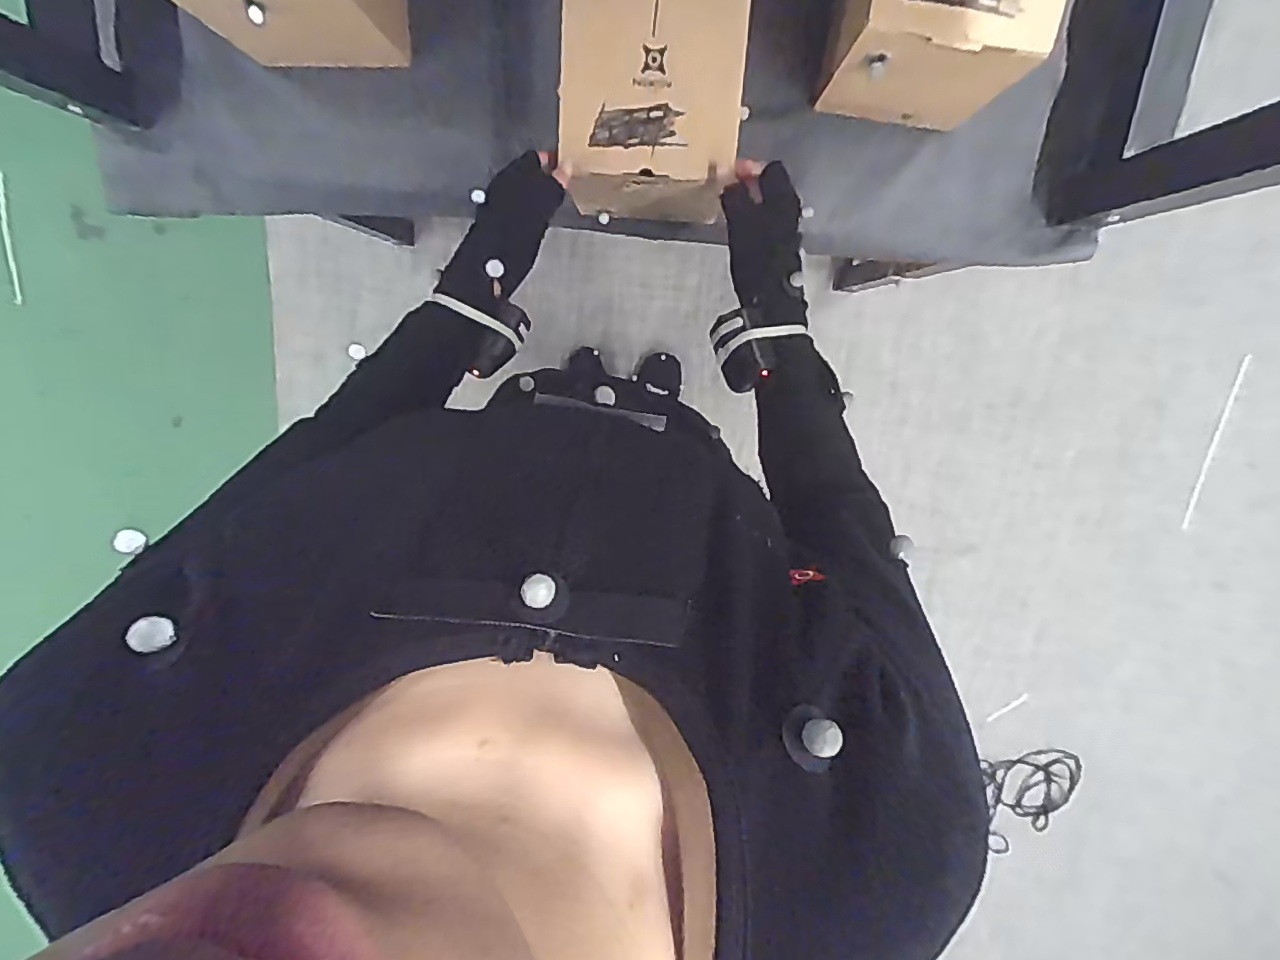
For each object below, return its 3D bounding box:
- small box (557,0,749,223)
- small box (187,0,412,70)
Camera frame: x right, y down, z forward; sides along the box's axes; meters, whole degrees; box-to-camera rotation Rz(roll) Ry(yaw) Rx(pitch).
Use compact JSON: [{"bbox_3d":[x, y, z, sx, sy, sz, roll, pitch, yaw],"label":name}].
[{"bbox_3d":[0.011,-0.381,0.565,0.168,0.176,0.179,4,103,0],"label":"small box"},{"bbox_3d":[-0.350,-0.537,0.533,0.179,0.176,0.168,1,105,0],"label":"small box"}]
